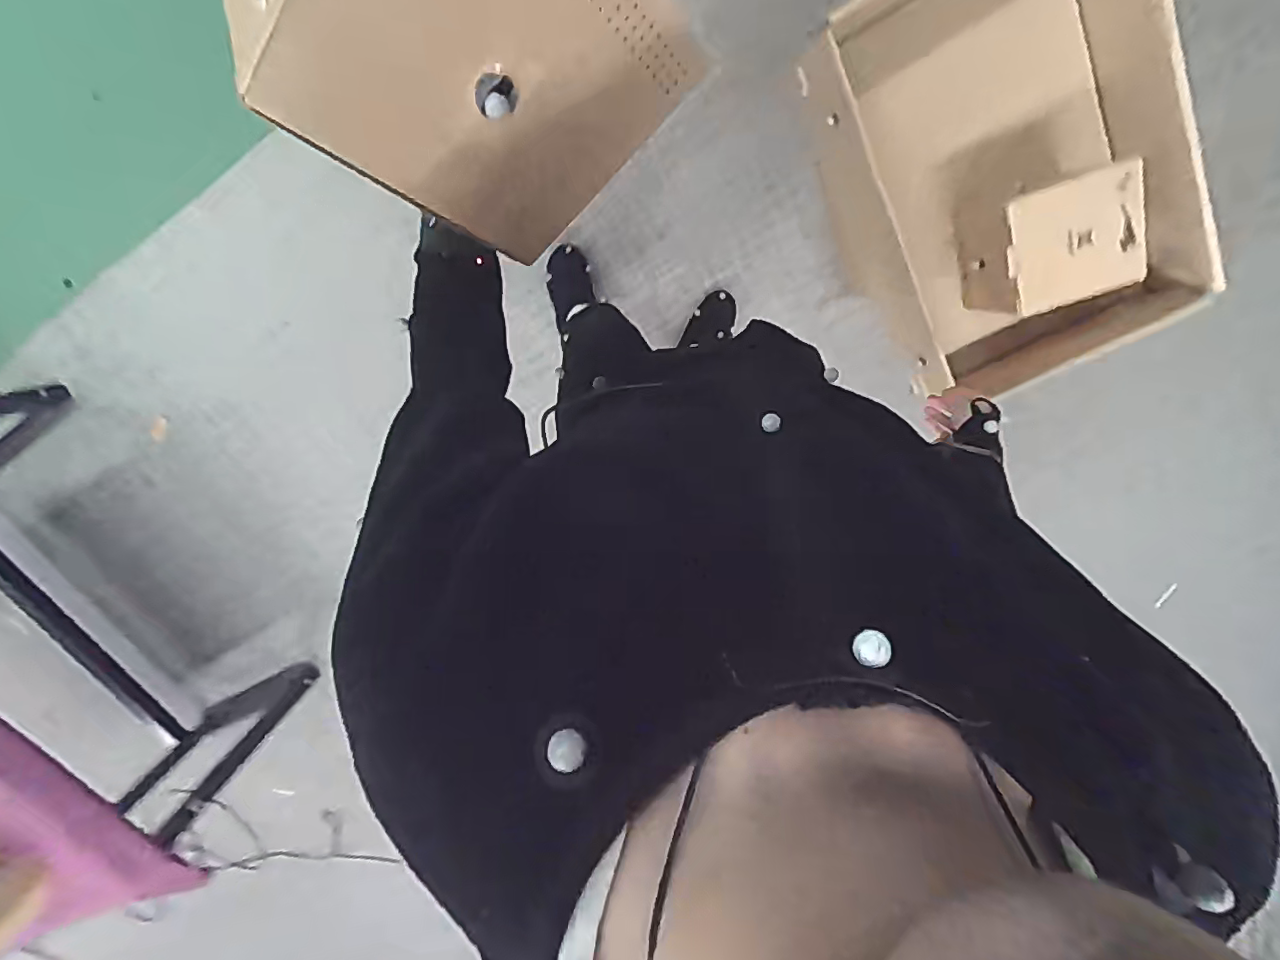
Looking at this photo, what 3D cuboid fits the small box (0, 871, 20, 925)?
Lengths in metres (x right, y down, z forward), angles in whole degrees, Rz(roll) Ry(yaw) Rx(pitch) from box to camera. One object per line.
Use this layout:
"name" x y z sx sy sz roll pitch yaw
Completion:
"small box" -1.470 0.927 1.123 0.168 0.176 0.179 33 109 -10

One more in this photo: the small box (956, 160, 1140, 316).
"small box" 0.620 -0.365 0.843 0.179 0.176 0.168 -16 109 10
